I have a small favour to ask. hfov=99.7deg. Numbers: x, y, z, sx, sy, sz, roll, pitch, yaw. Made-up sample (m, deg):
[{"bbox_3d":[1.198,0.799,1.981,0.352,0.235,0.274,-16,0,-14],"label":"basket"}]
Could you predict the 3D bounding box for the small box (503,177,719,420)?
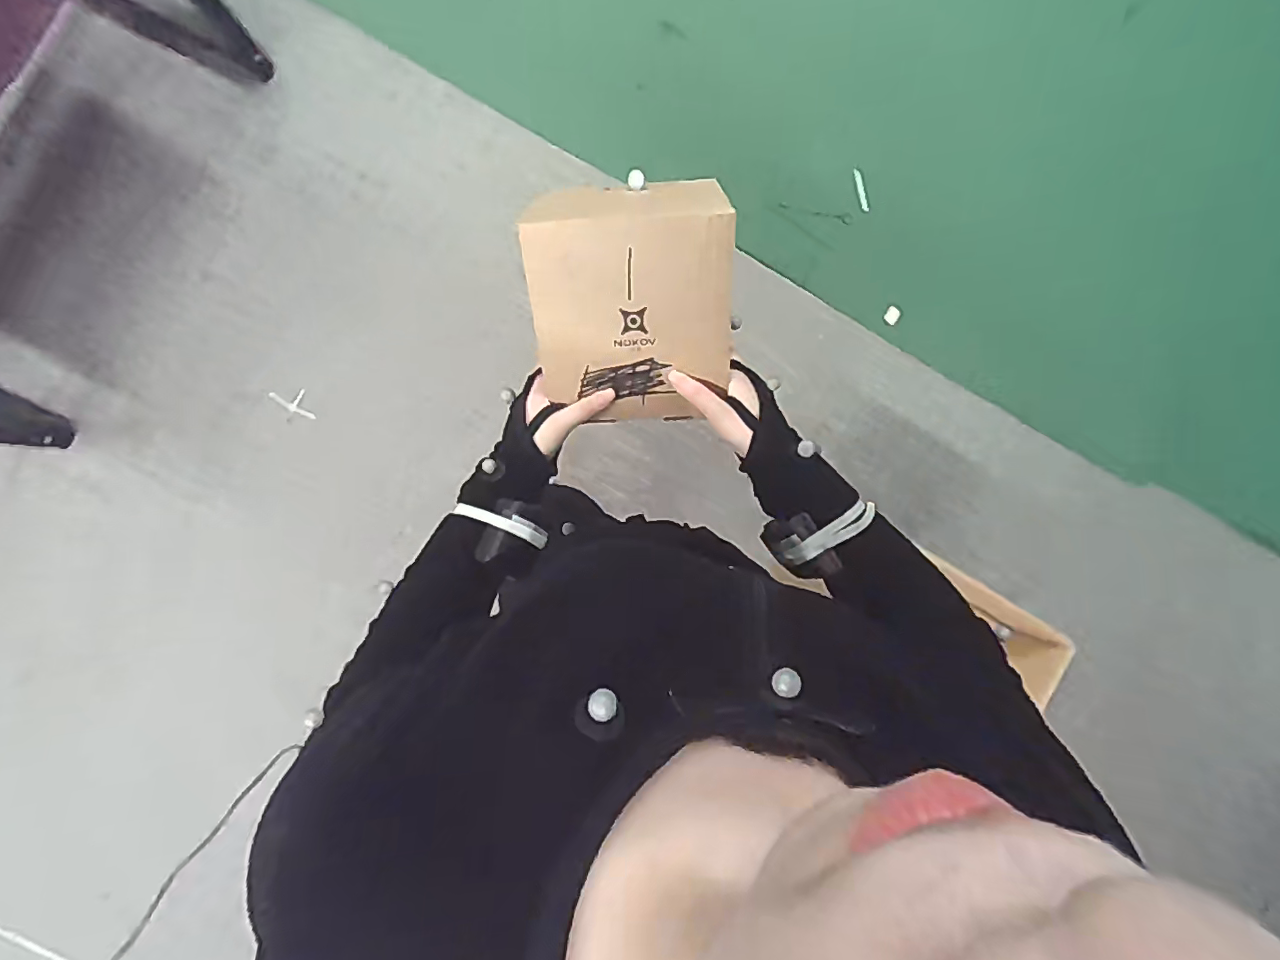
[{"bbox_3d":[-0.015,-0.175,0.515,0.168,0.176,0.179,-2,125,3],"label":"small box"}]
